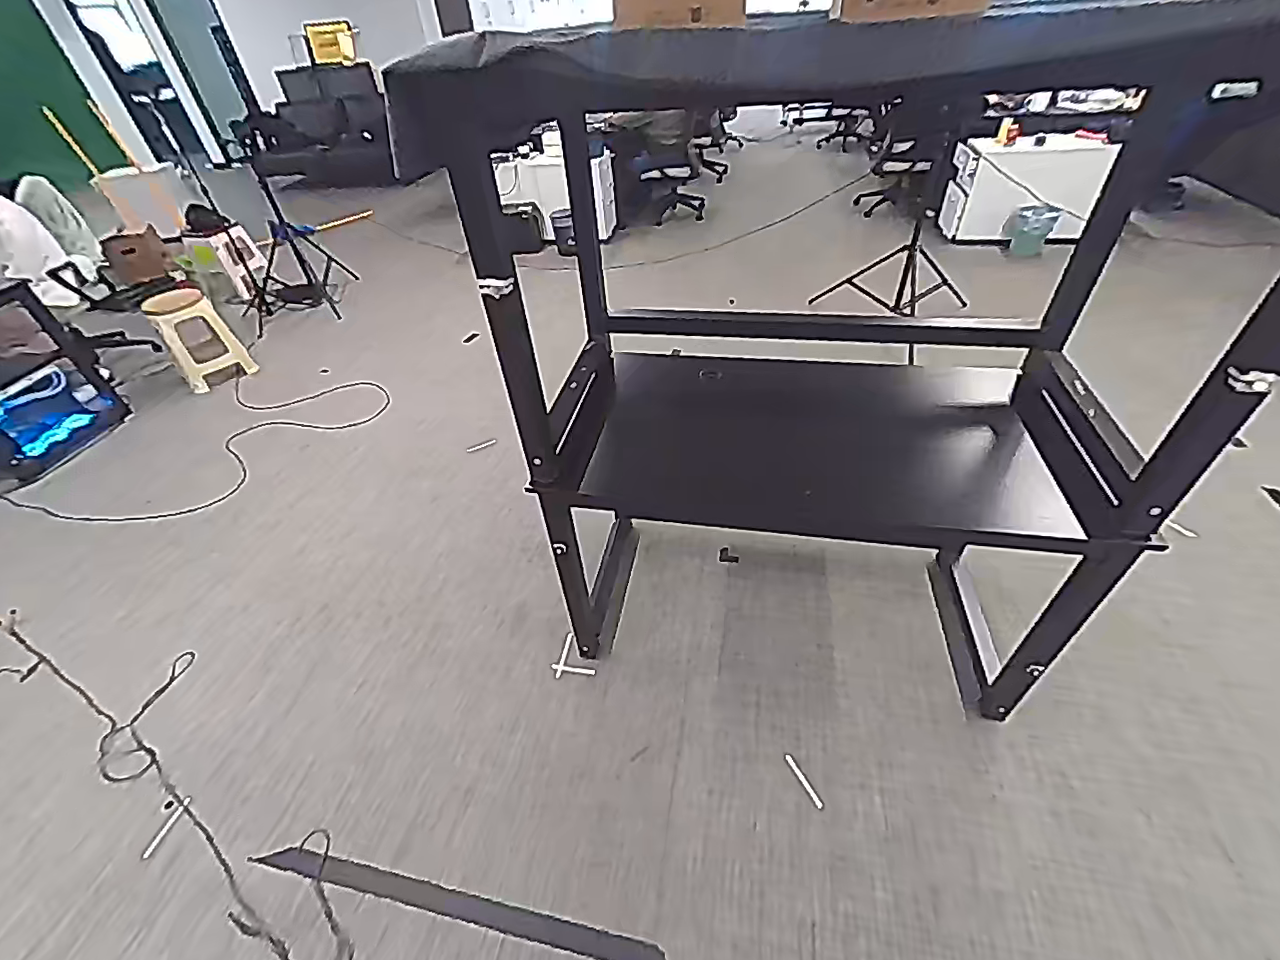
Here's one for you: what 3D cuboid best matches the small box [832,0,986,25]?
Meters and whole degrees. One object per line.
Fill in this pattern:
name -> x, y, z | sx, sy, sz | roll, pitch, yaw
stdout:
small box -> 0.334, -0.666, 0.651 | 0.168, 0.176, 0.179 | 5, 41, 10

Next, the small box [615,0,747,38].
small box -> 0.051, -0.675, 0.687 | 0.168, 0.176, 0.179 | -1, 41, 5
